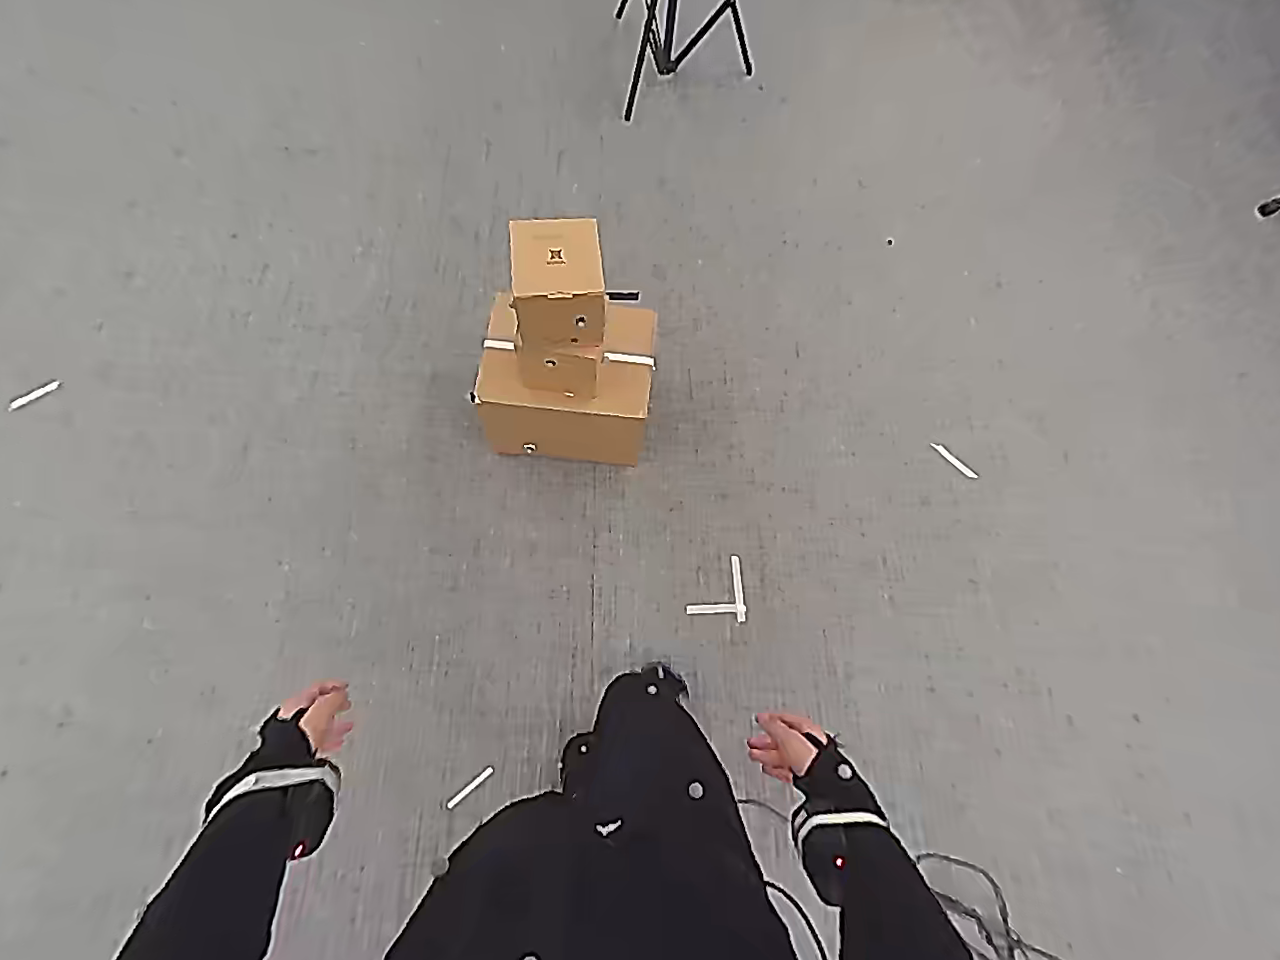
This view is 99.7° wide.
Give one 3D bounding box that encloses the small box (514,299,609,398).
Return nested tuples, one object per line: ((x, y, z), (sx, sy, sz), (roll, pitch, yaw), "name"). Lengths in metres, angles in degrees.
((-0.170, -0.300, 1.211), (0.179, 0.176, 0.168), (9, 70, -3), "small box")

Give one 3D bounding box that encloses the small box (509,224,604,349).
((-0.161, -0.371, 1.064), (0.168, 0.176, 0.179), (-5, 70, -8), "small box")
